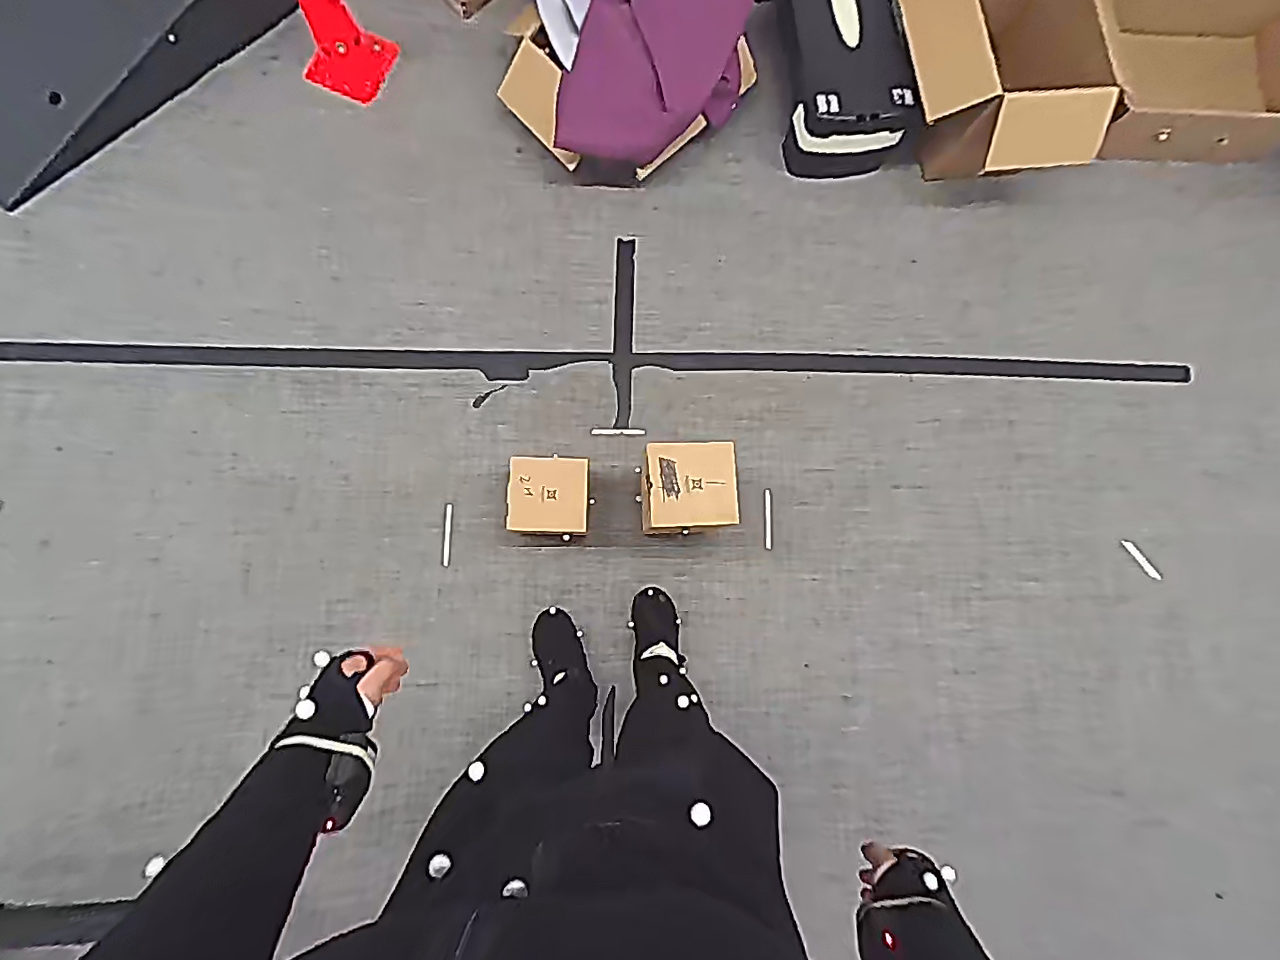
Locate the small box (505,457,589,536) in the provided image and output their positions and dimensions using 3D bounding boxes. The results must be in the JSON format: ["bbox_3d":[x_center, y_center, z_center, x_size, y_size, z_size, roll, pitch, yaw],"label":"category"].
[{"bbox_3d":[-0.210,0.043,1.263,0.179,0.176,0.168,2,82,-4],"label":"small box"}]

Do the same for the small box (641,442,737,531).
[{"bbox_3d":[0.092,0.019,1.123,0.179,0.176,0.168,-1,82,-5],"label":"small box"}]
